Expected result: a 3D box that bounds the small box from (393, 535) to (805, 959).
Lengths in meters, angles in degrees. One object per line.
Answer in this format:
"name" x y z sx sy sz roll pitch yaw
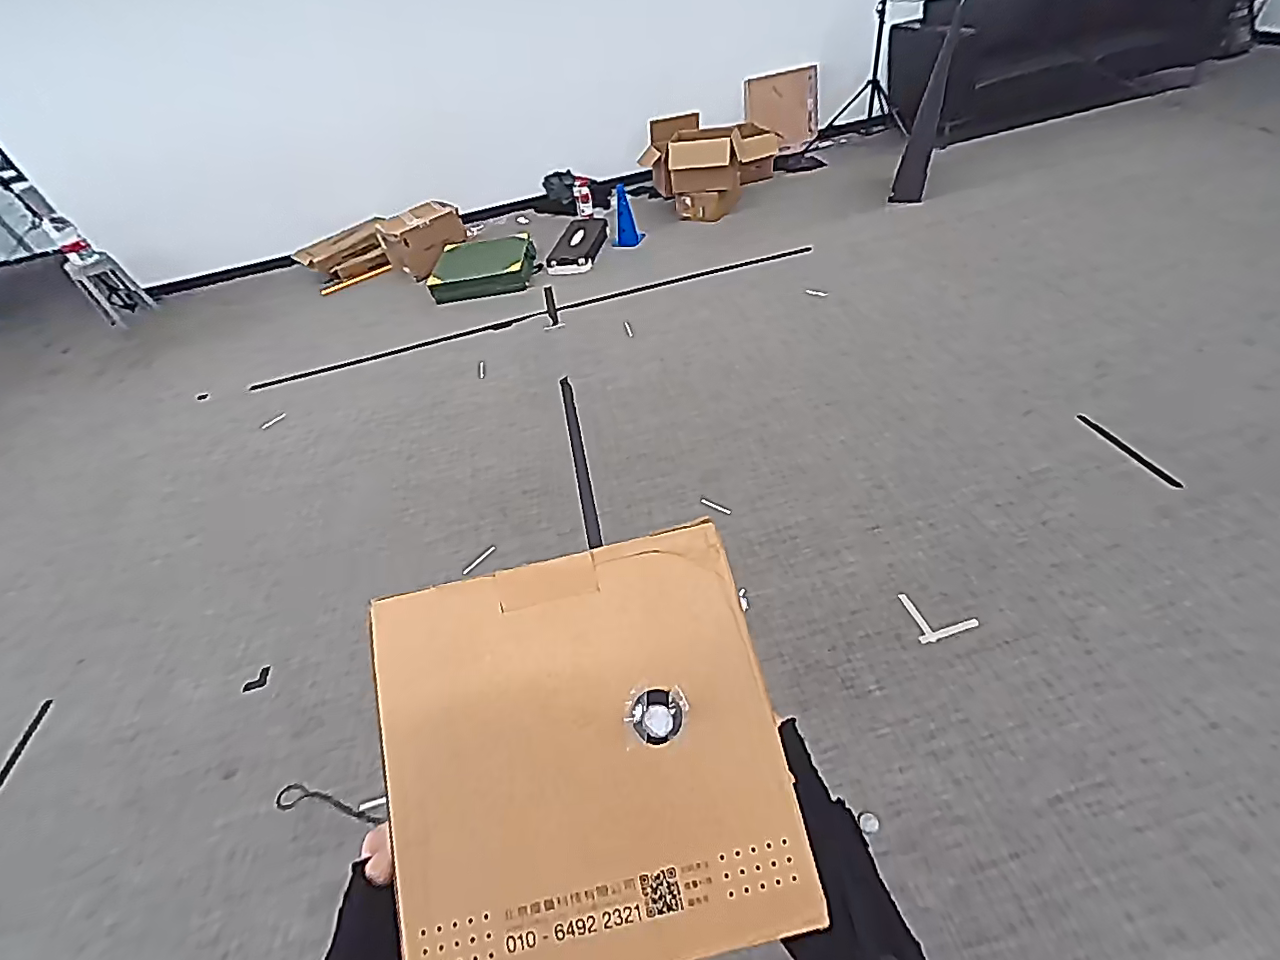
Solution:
"small box" -0.018 0.144 0.323 0.168 0.179 0.176 -13 75 0
